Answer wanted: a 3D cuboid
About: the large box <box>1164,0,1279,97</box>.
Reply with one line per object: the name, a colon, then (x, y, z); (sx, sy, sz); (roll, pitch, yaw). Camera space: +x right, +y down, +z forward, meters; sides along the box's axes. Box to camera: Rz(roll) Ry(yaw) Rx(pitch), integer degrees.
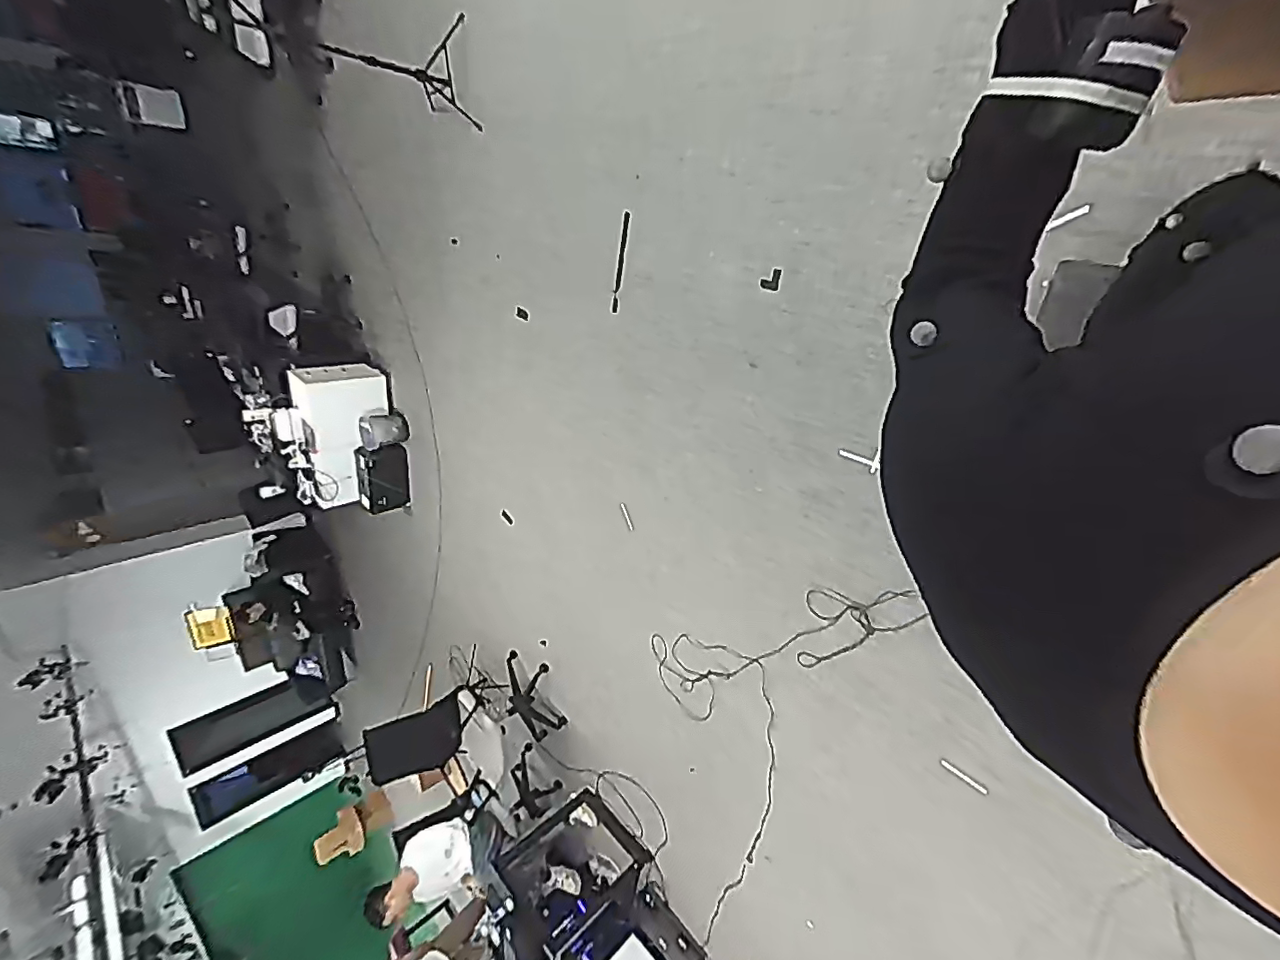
large box: (0.540, -0.407, 0.225); (0.408, 0.320, 0.320); (22, 120, 39)
